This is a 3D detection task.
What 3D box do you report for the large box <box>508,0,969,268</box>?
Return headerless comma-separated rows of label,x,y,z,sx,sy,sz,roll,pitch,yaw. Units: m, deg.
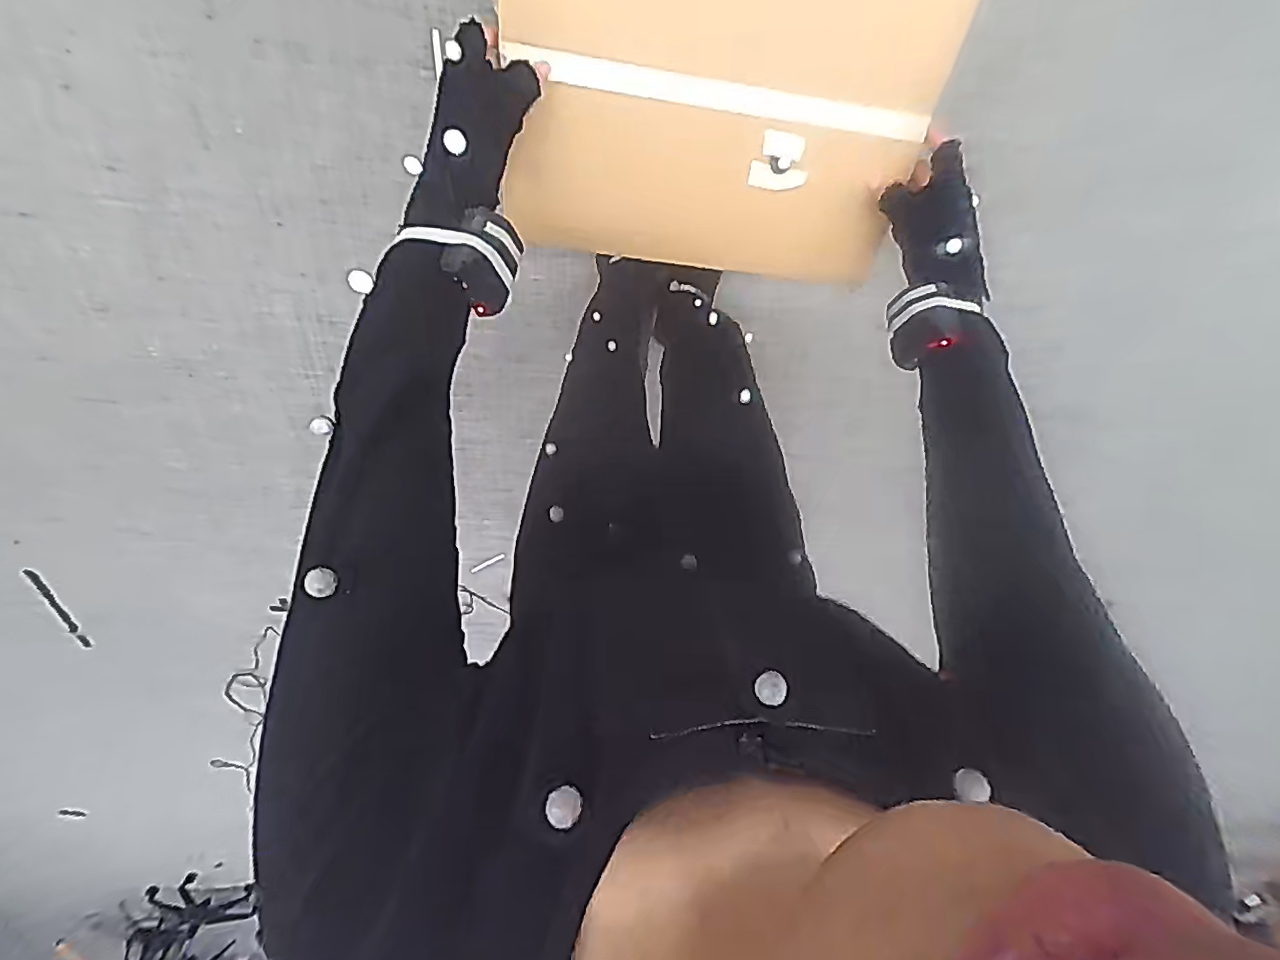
large box,0.070,-0.464,0.614,0.408,0.320,0.320,4,130,-8
